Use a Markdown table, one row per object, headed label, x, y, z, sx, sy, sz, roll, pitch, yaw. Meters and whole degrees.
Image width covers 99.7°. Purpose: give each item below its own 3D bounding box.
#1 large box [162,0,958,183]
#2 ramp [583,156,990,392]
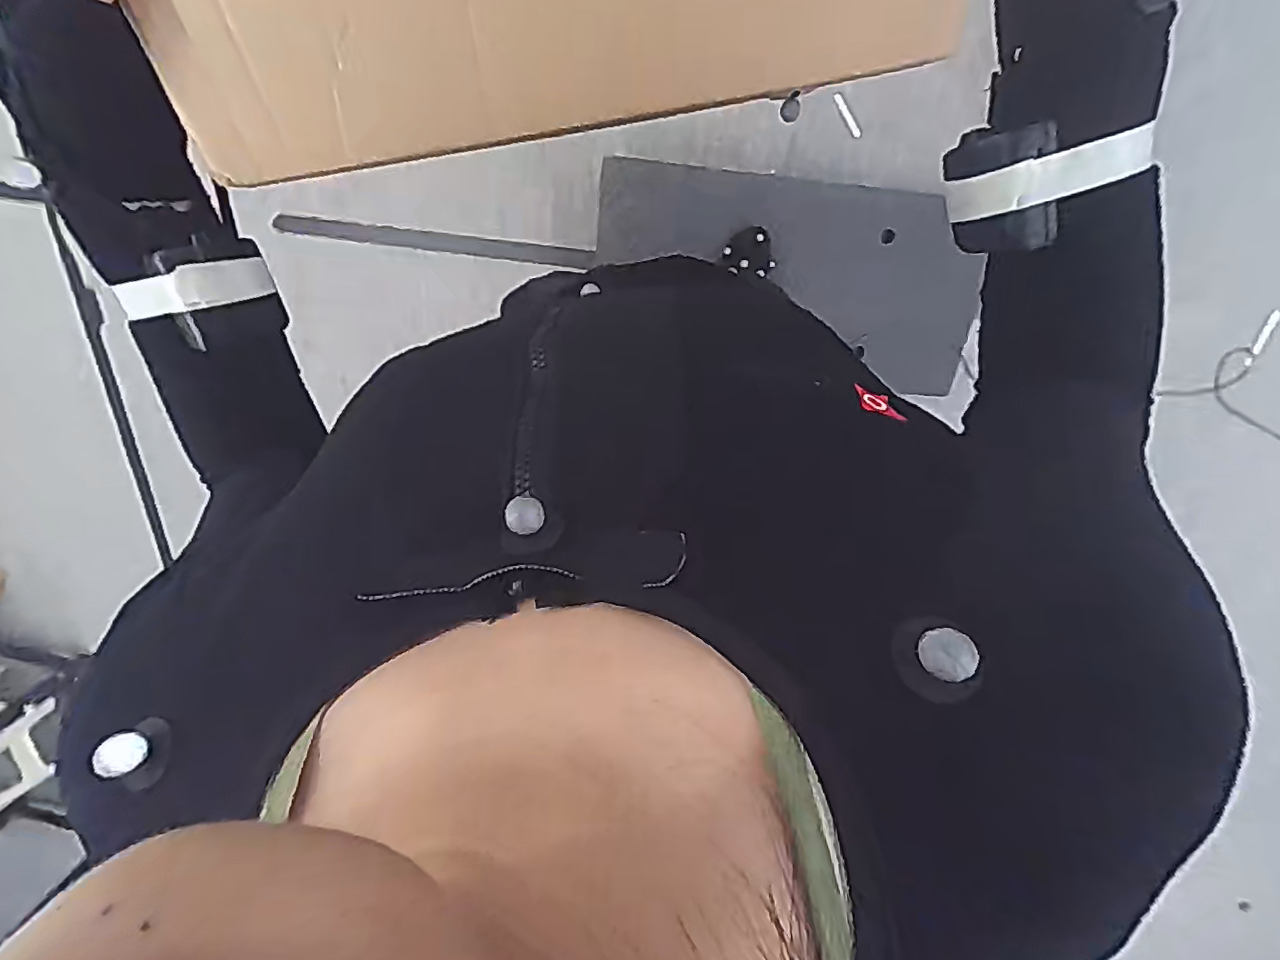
| label | x | y | z | sx | sy | sz | roll | pitch | yaw |
| --- | --- | --- | --- | --- | --- | --- | --- | --- | --- |
| large box | -0.052 | -0.408 | 0.339 | 0.408 | 0.320 | 0.320 | -7 | 123 | 4 |
| ramp | 0.363 | -0.493 | 1.379 | 0.991 | 0.206 | 0.509 | 5 | 113 | 2 |
